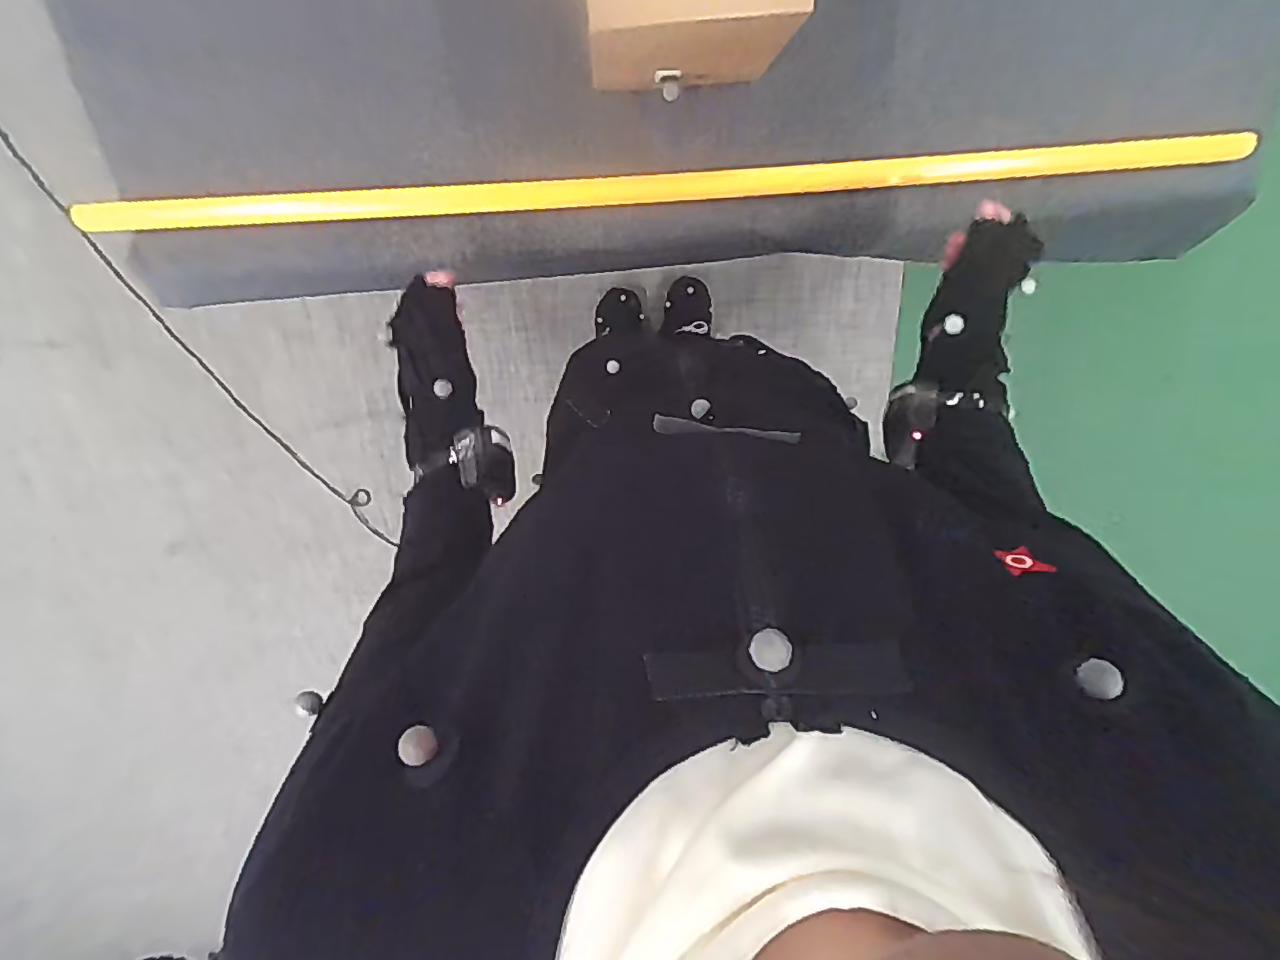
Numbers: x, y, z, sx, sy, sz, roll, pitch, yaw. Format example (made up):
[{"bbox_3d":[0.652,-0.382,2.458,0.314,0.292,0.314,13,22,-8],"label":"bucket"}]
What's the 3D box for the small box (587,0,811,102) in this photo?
[{"bbox_3d":[0.035,-0.441,0.443,0.168,0.176,0.179,-5,112,1],"label":"small box"}]
